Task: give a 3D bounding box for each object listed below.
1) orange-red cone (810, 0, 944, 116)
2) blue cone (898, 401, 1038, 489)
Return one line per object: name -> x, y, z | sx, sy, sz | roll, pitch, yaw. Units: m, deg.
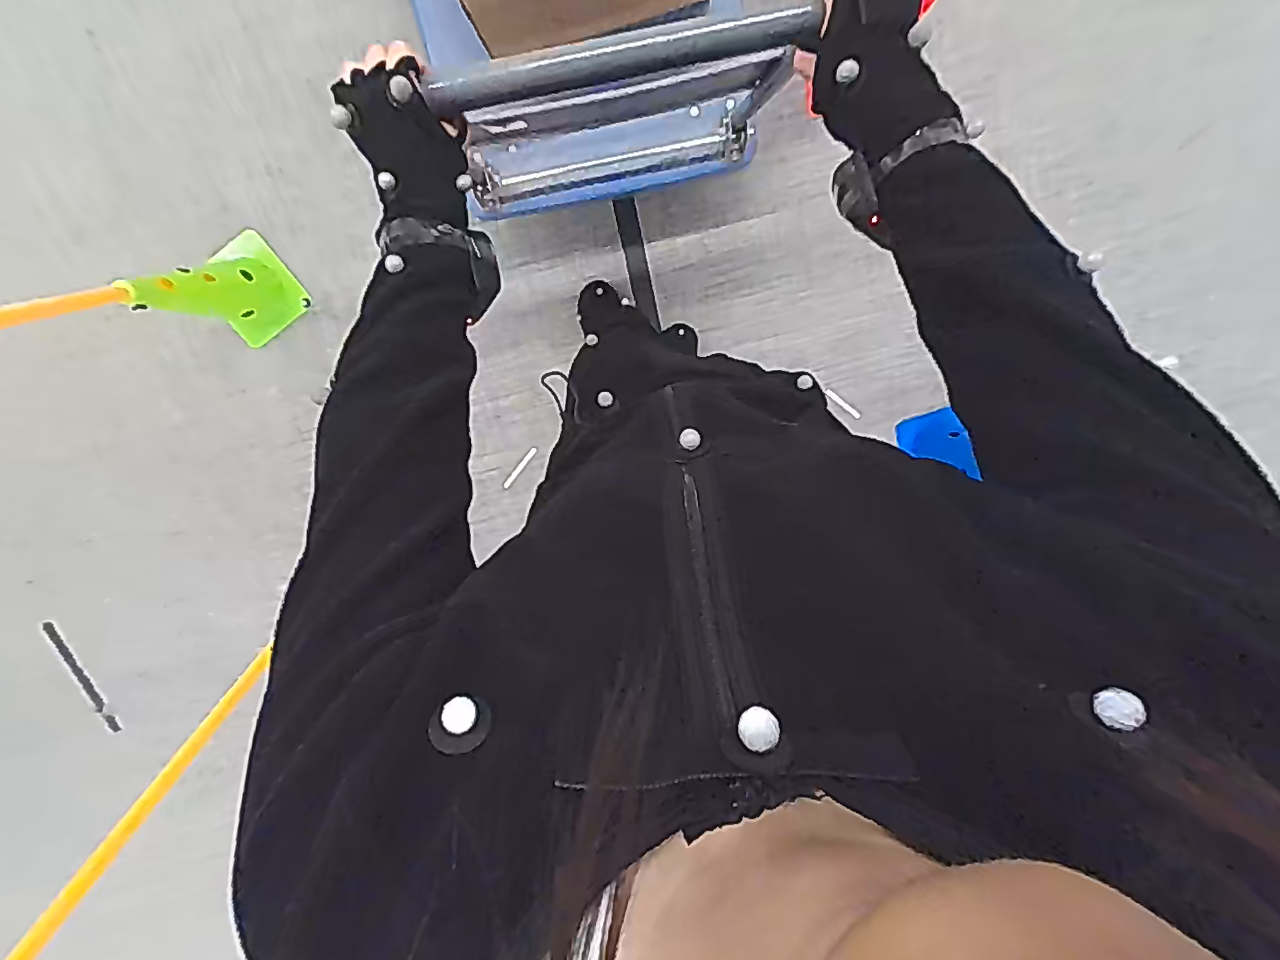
orange-red cone -> 0.469, -0.839, 0.989 | 0.199, 0.360, 0.198 | -8, 110, -1
blue cone -> 0.803, -0.047, 1.293 | 0.193, 0.380, 0.192 | -17, 108, 4
